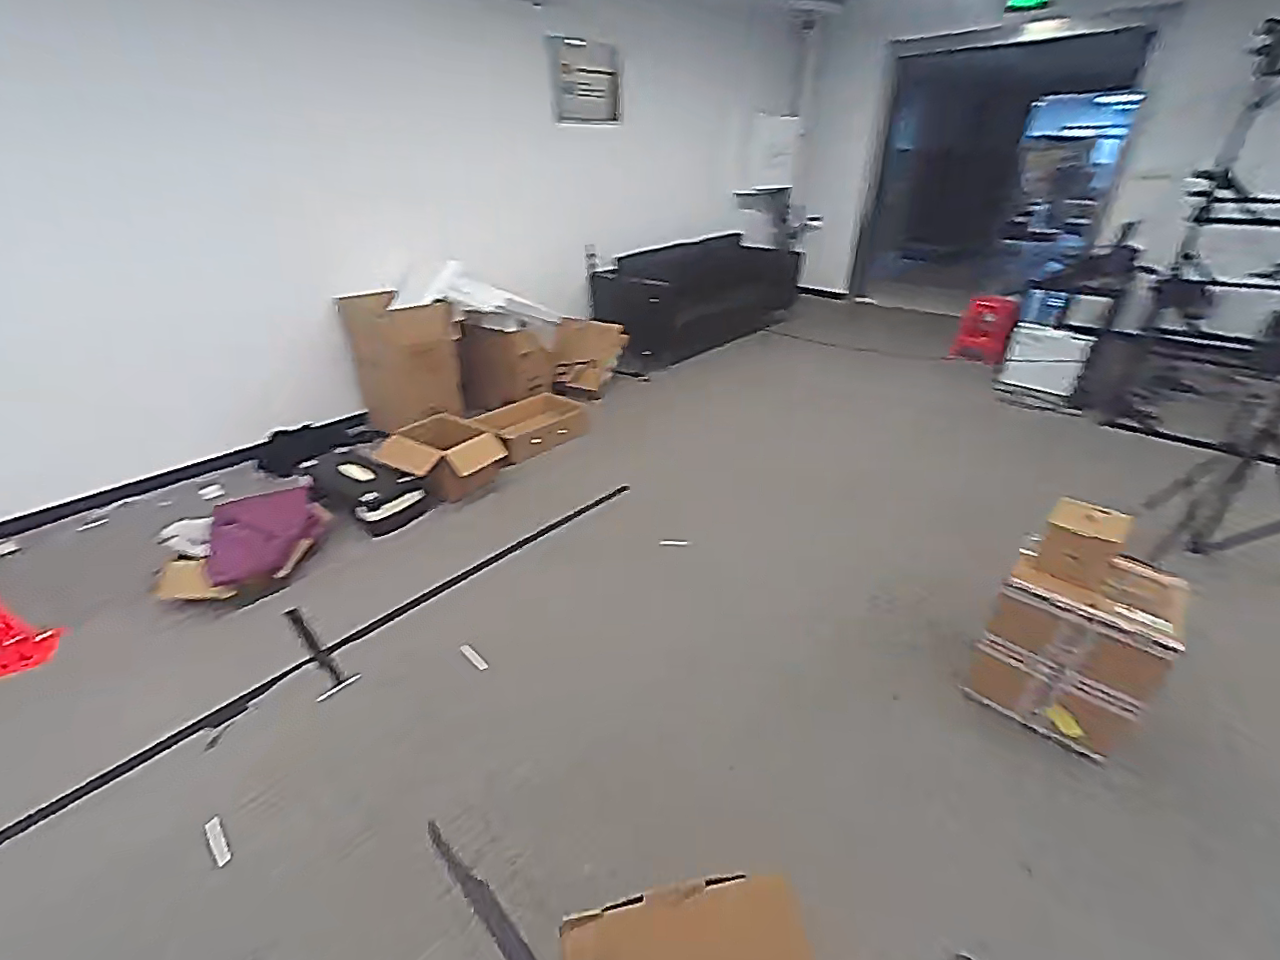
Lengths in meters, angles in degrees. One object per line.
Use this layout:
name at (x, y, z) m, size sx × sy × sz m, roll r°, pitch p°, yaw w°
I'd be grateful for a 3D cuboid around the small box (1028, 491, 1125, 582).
small box at (1.256, 0.164, 1.564) m, size 0.179 × 0.176 × 0.168 m, roll -30°, pitch 39°, yaw -35°
